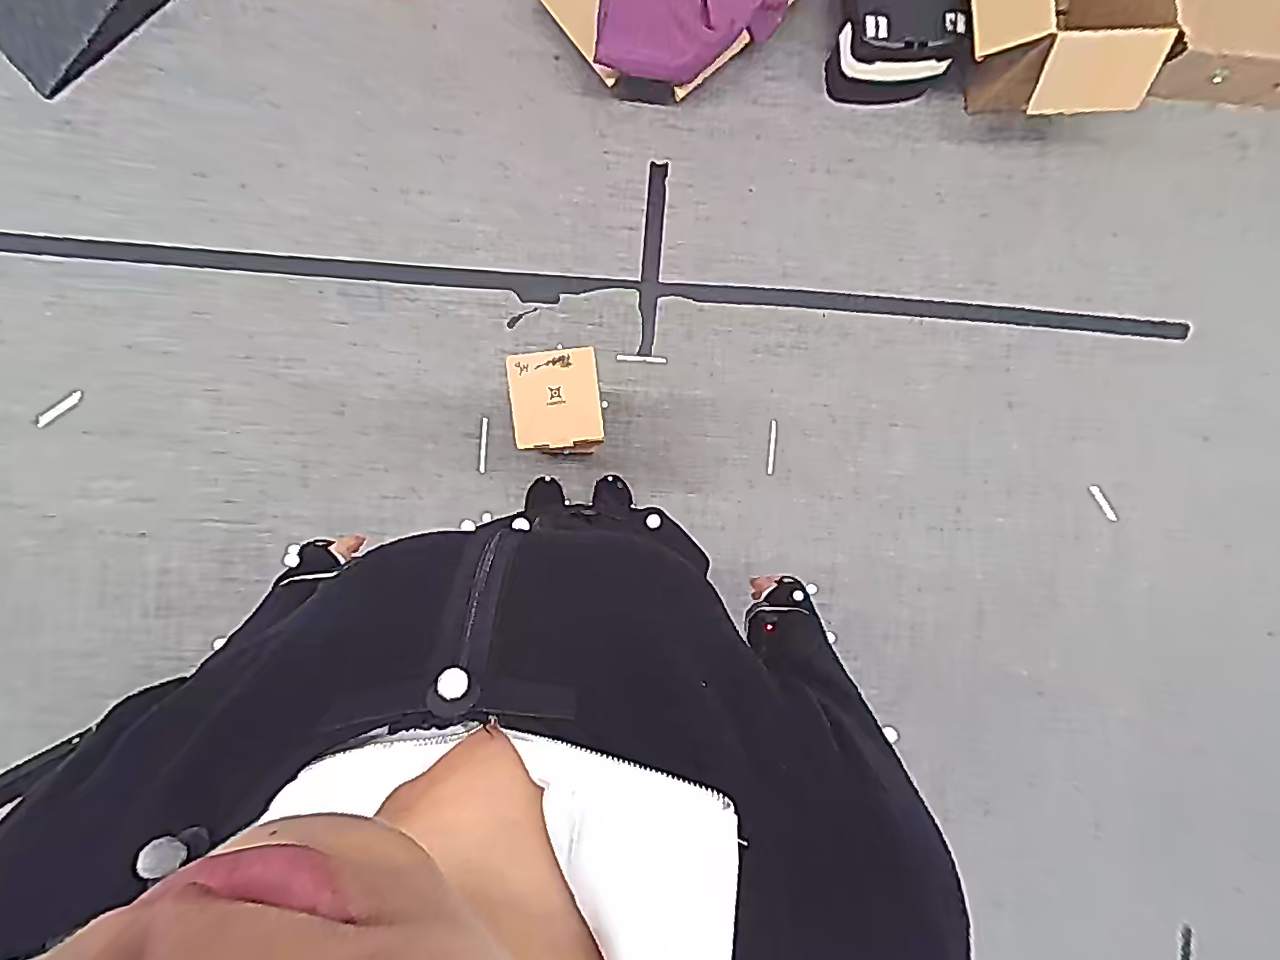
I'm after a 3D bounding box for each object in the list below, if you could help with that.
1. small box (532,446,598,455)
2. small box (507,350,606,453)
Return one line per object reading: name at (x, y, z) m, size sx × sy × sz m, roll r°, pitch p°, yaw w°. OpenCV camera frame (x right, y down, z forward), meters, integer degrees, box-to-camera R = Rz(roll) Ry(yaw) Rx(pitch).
small box at (-0.192, -0.154, 1.405) m, size 0.168 × 0.176 × 0.179 m, roll 0°, pitch 93°, yaw -2°
small box at (-0.159, -0.150, 1.077) m, size 0.168 × 0.176 × 0.179 m, roll -7°, pitch 93°, yaw -2°
